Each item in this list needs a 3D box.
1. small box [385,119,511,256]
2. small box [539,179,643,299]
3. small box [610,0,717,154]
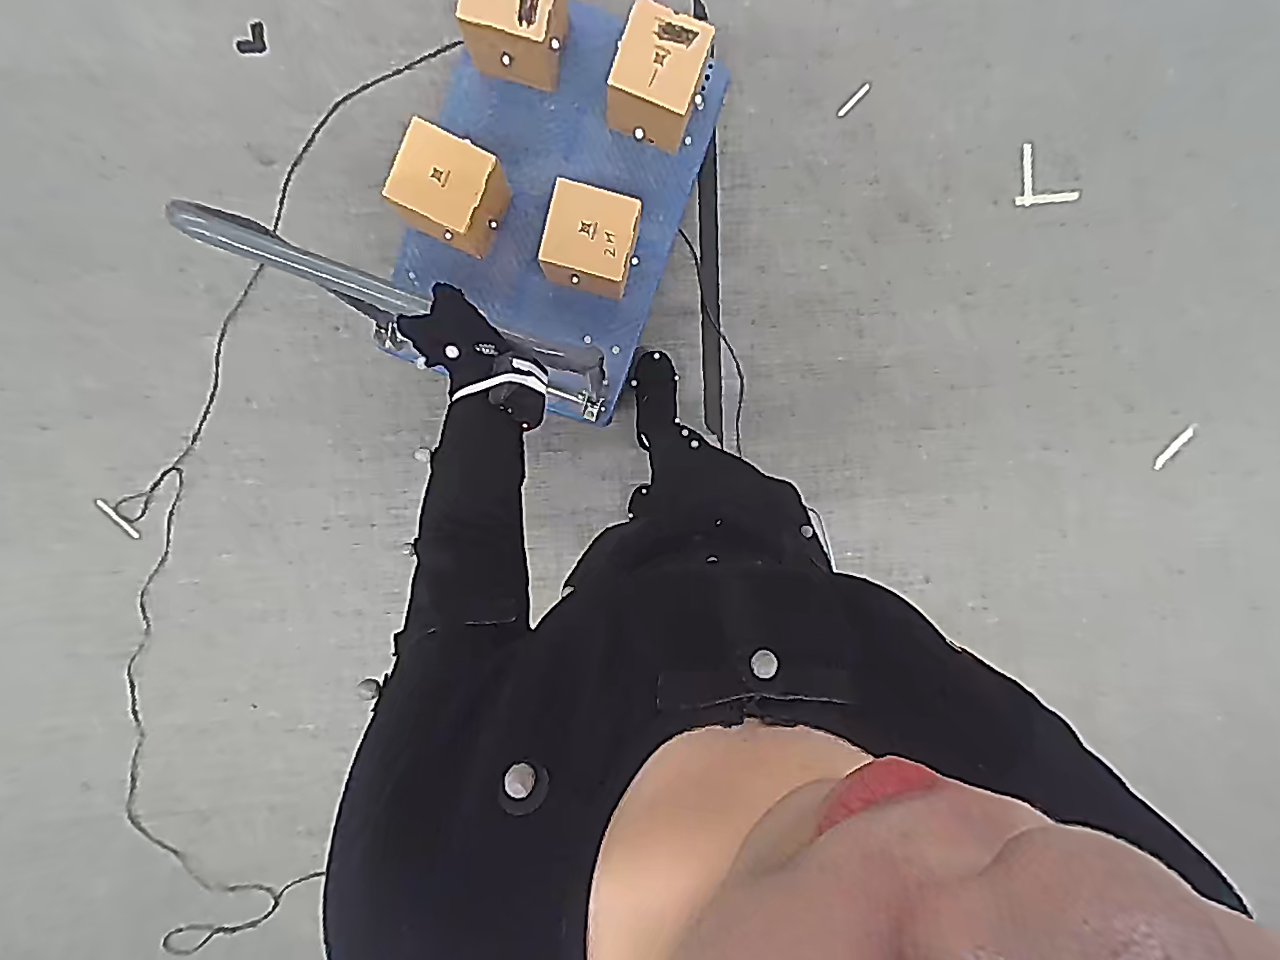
[{"bbox_3d":[-0.392,-0.599,1.136,0.179,0.176,0.168,24,94,-6],"label":"small box"},{"bbox_3d":[-0.100,-0.503,1.157,0.179,0.176,0.168,15,95,-3],"label":"small box"},{"bbox_3d":[0.041,-0.832,1.130,0.168,0.176,0.179,20,96,-4],"label":"small box"}]
